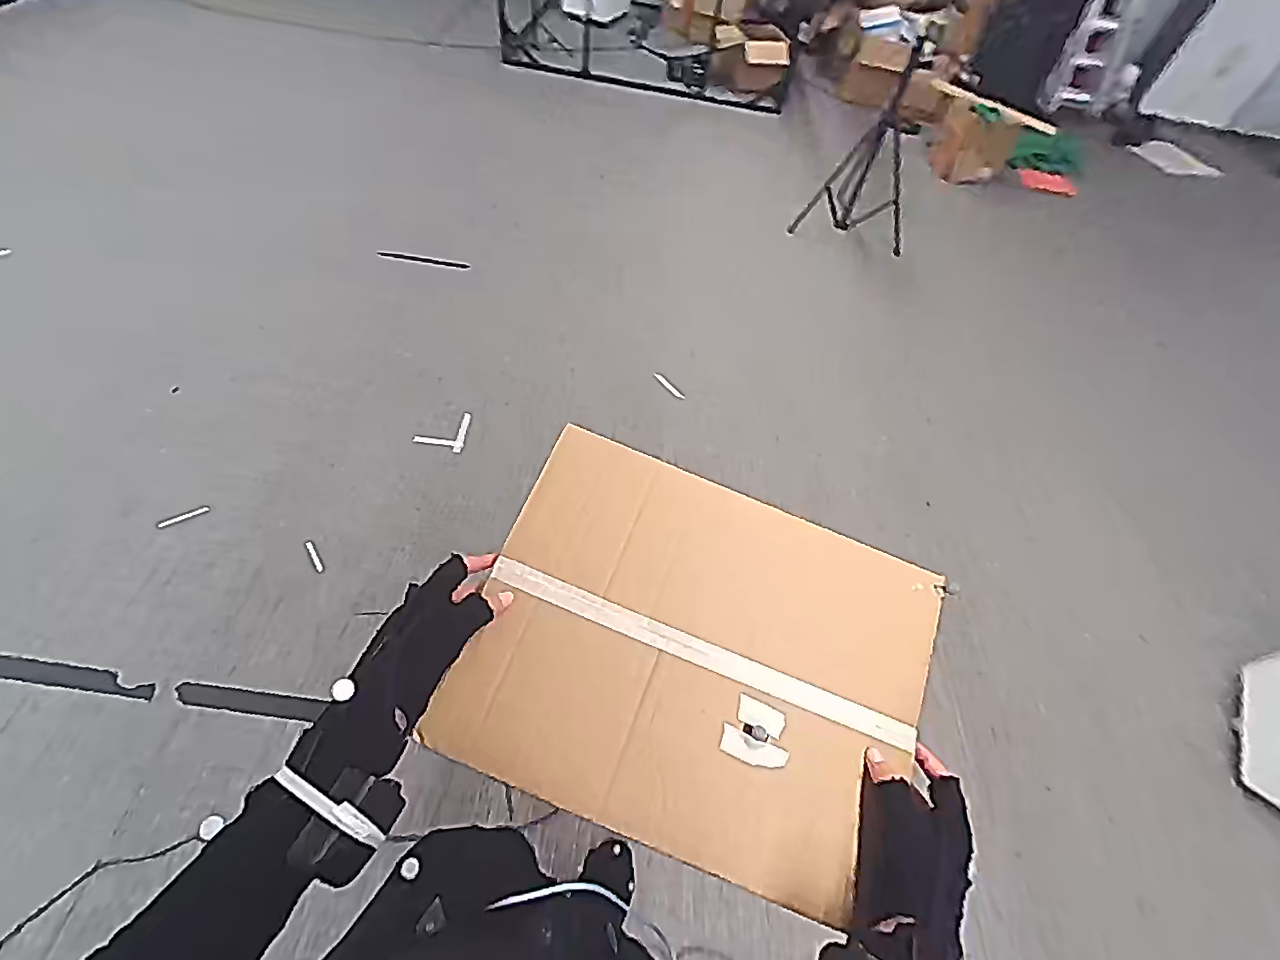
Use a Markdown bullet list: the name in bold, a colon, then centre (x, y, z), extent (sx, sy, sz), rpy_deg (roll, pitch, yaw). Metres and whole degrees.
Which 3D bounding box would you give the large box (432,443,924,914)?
- **large box**: centre (0.039, 0.209, 0.646), extent (0.408, 0.320, 0.320), rpy_deg (22, 71, 1)
